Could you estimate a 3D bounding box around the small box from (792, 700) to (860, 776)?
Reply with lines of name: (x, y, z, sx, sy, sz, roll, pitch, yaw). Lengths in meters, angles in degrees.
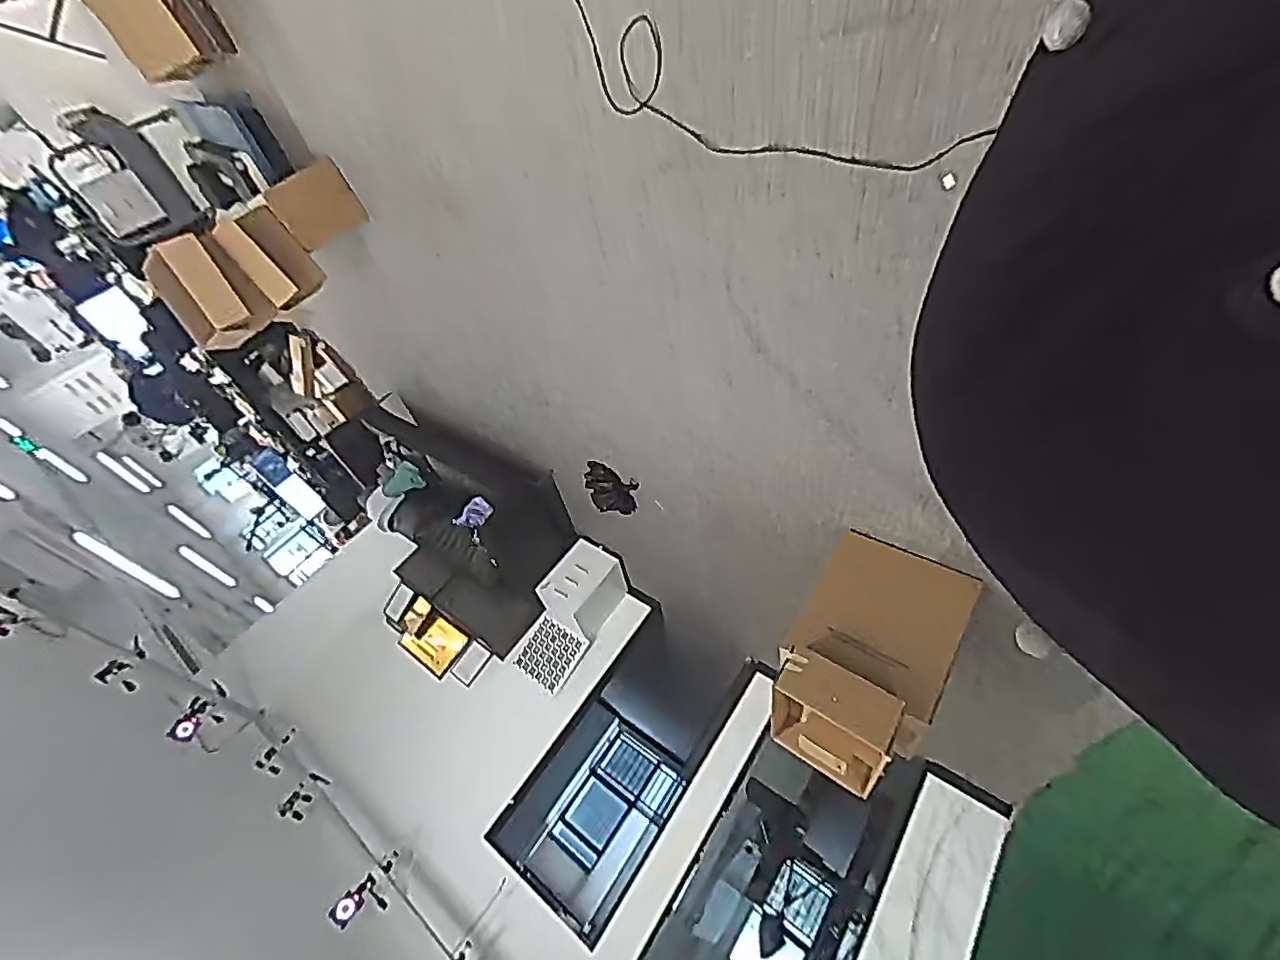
small box: (0.669, 0.924, 1.955, 0.179, 0.176, 0.168, 25, 150, 32)
